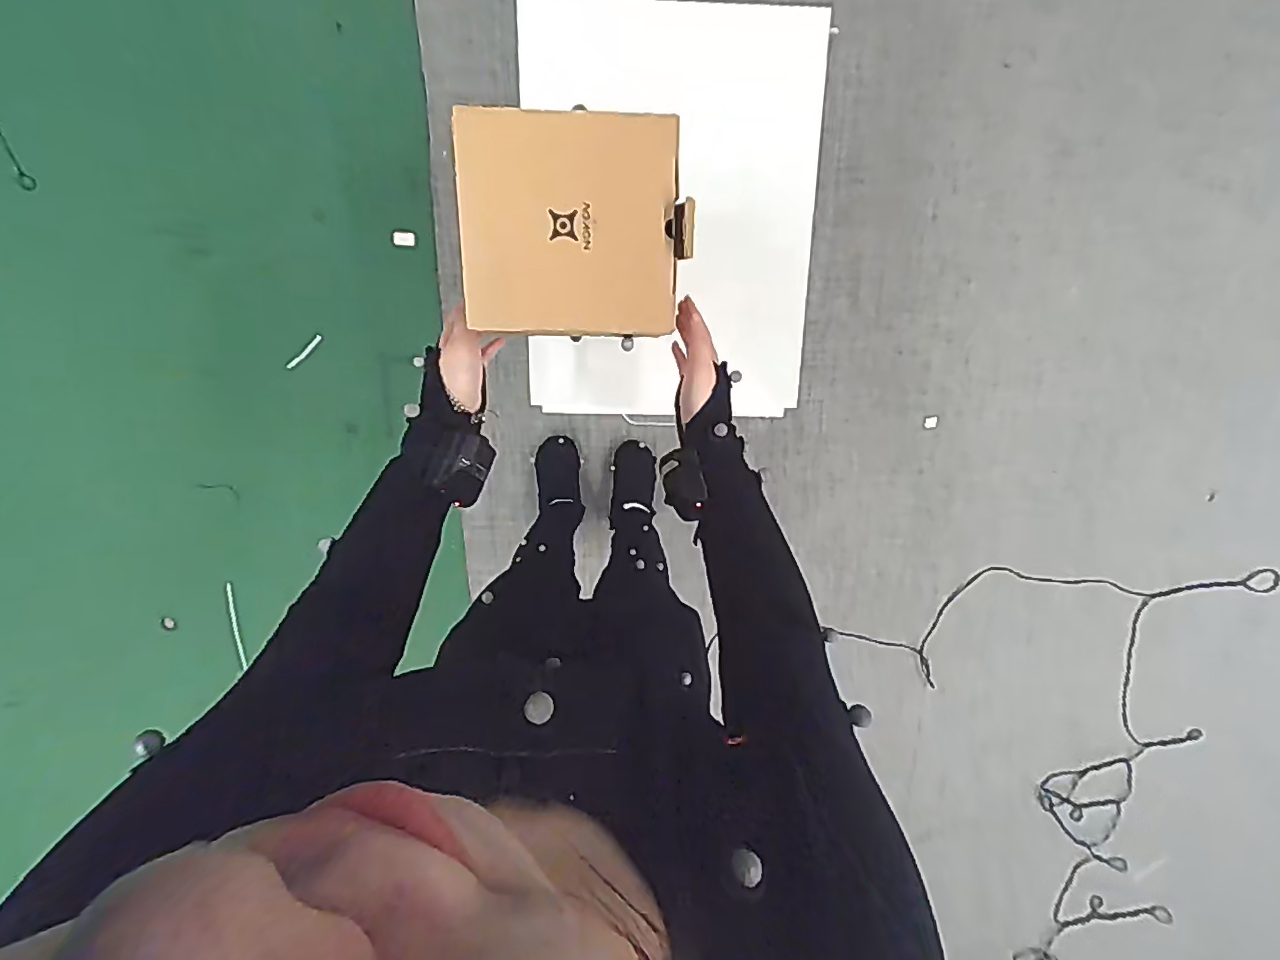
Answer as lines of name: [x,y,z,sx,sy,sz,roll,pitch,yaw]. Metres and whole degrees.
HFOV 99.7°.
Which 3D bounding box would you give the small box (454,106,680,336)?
small box: [-0.060,-0.223,0.509,0.179,0.176,0.168,0,105,-3]
